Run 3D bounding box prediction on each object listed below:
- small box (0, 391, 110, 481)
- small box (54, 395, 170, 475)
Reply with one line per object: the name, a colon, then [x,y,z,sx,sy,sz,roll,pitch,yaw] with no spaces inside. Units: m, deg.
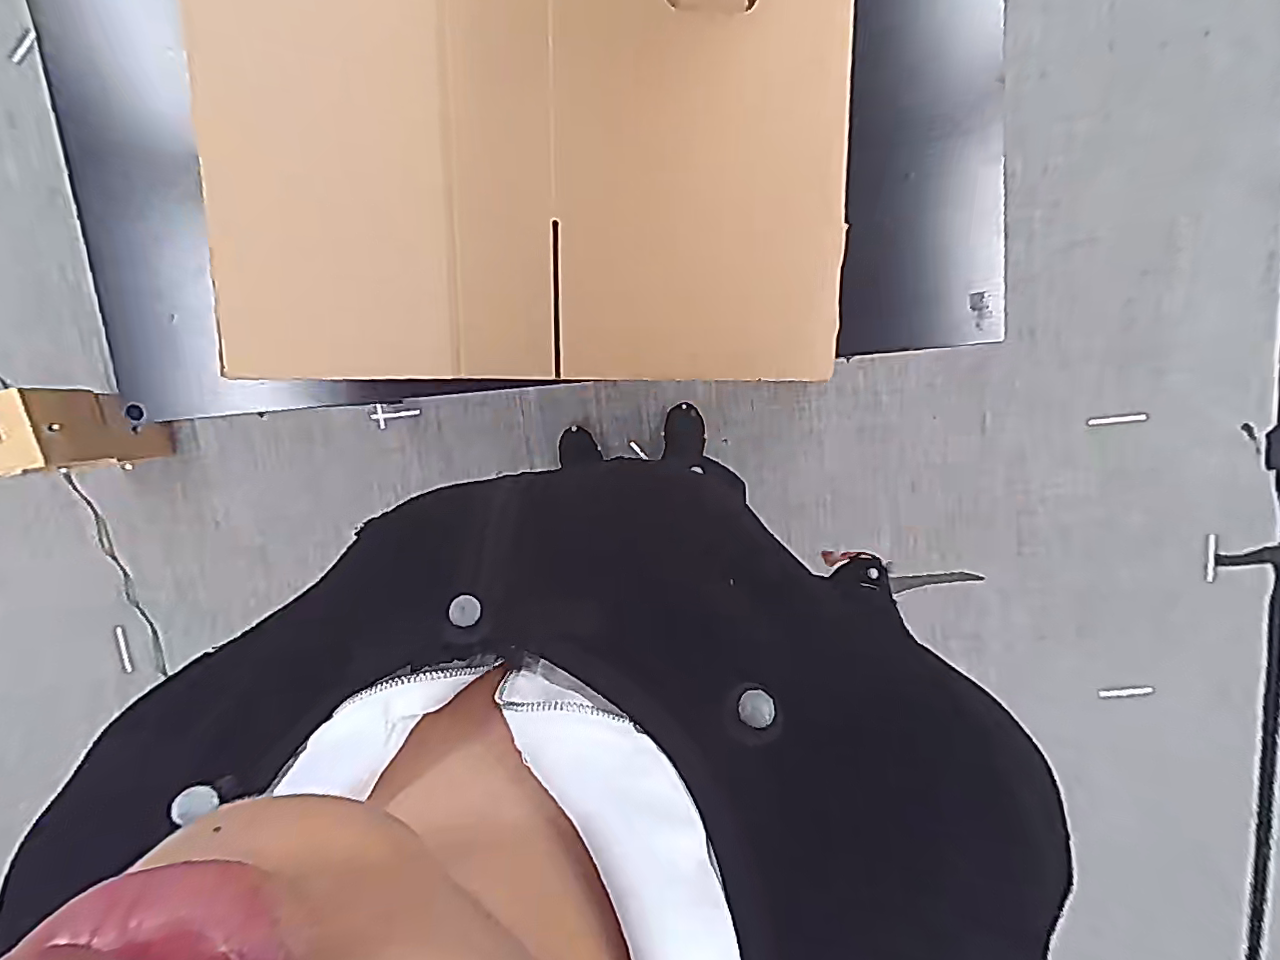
small box: [-1.382,-0.101,1.235,0.168,0.176,0.179,-12,97,1]
small box: [-1.379,-0.118,1.397,0.168,0.176,0.179,-9,99,2]
